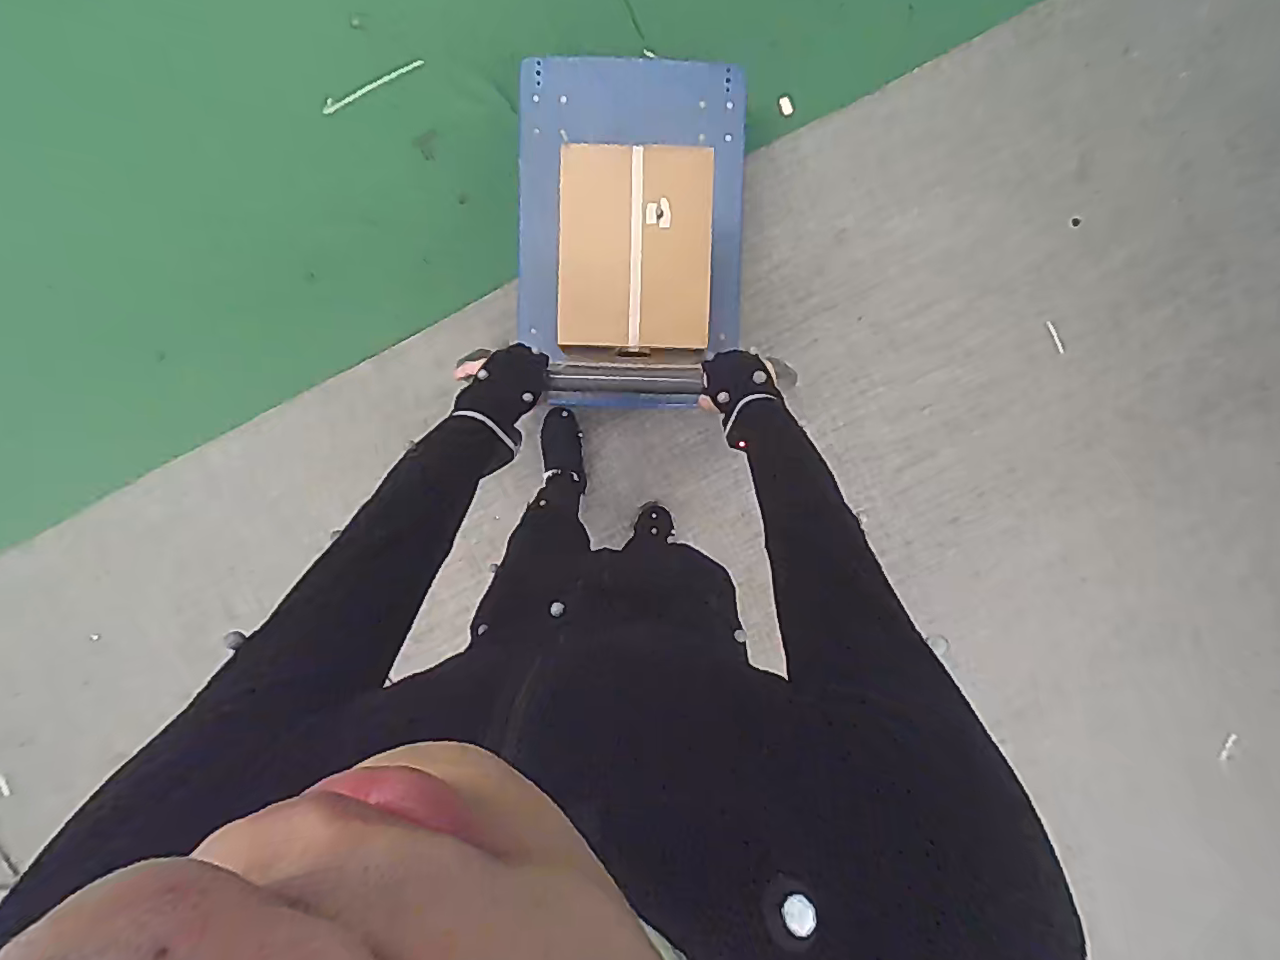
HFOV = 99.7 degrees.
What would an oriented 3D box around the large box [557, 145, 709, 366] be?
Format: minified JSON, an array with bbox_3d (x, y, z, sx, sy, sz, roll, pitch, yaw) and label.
[{"bbox_3d":[-0.015,-0.492,1.267,0.320,0.320,0.408,2,93,-1],"label":"large box"}]
